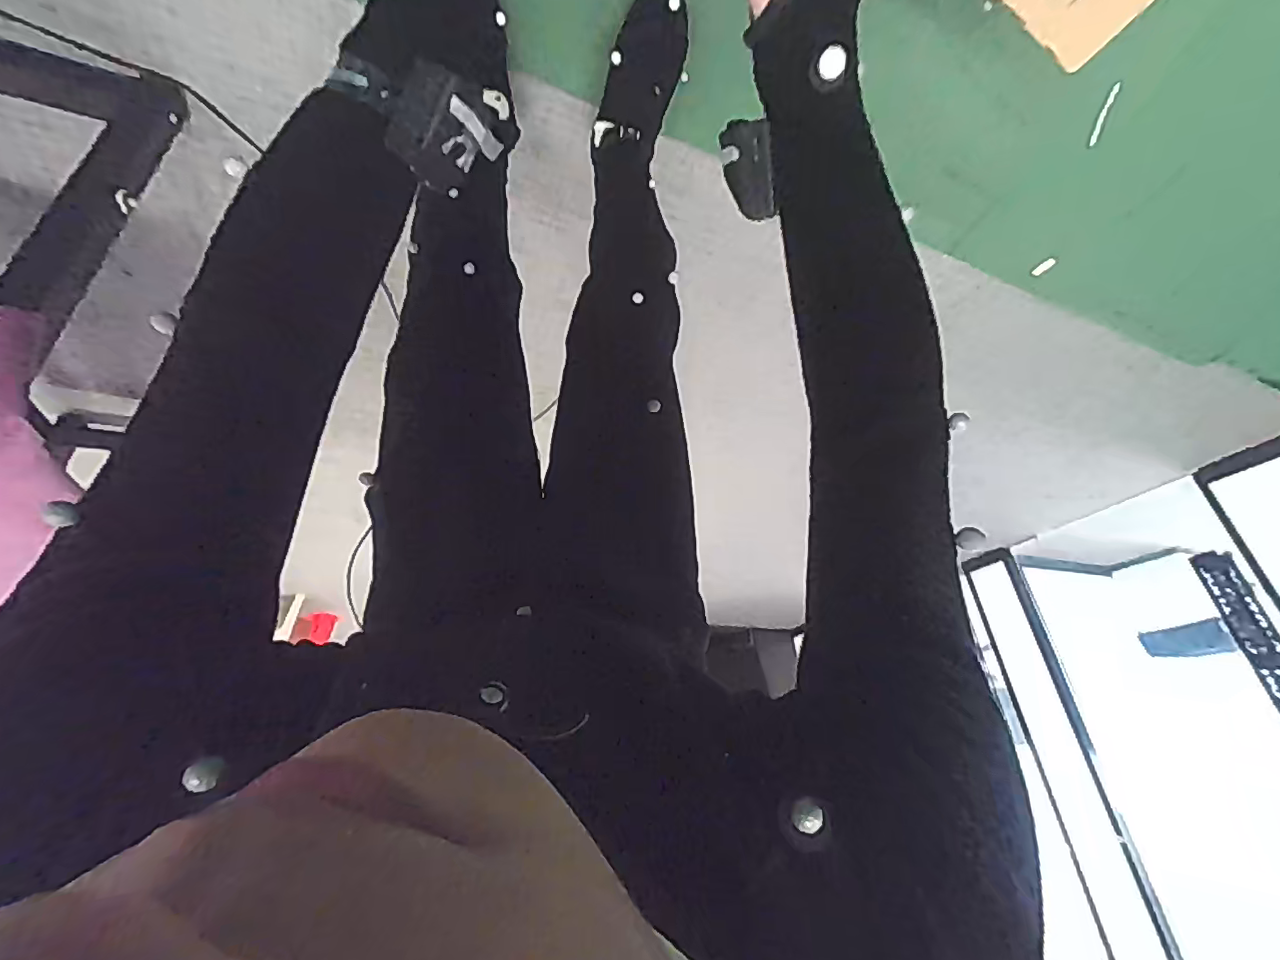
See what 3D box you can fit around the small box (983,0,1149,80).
[{"bbox_3d":[0.487,-0.617,0.606,0.168,0.176,0.179,13,147,-29],"label":"small box"}]
